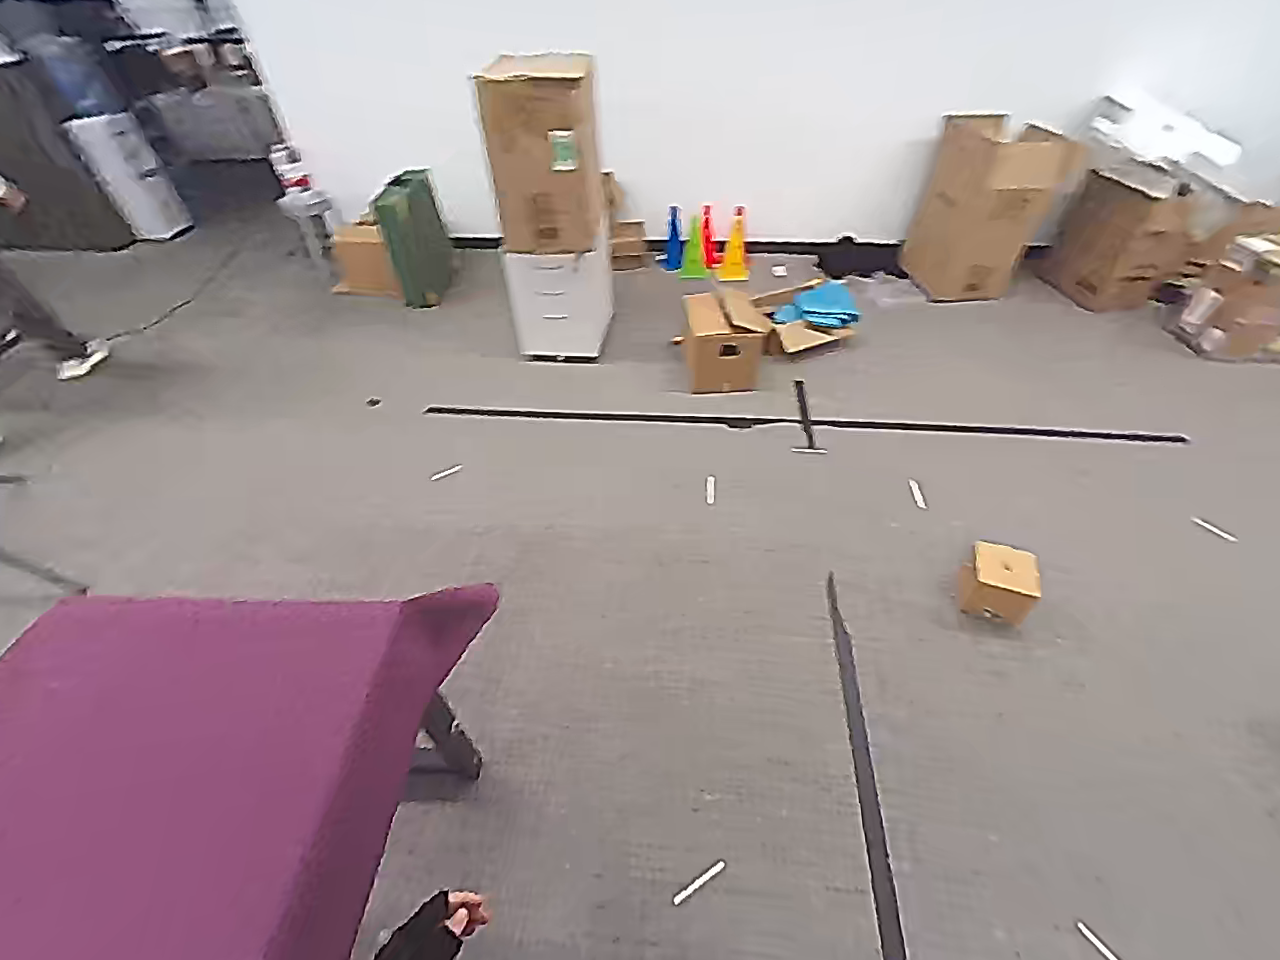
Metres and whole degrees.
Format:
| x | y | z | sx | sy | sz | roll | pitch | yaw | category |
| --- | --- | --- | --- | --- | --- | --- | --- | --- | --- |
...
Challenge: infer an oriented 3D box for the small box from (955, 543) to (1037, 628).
| x | y | z | sx | sy | sz | roll | pitch | yaw | category |
| --- | --- | --- | --- | --- | --- | --- | --- | --- | --- |
| 1.119 | 0.334 | 1.713 | 0.168 | 0.176 | 0.179 | 13 | 47 | 16 | small box |
